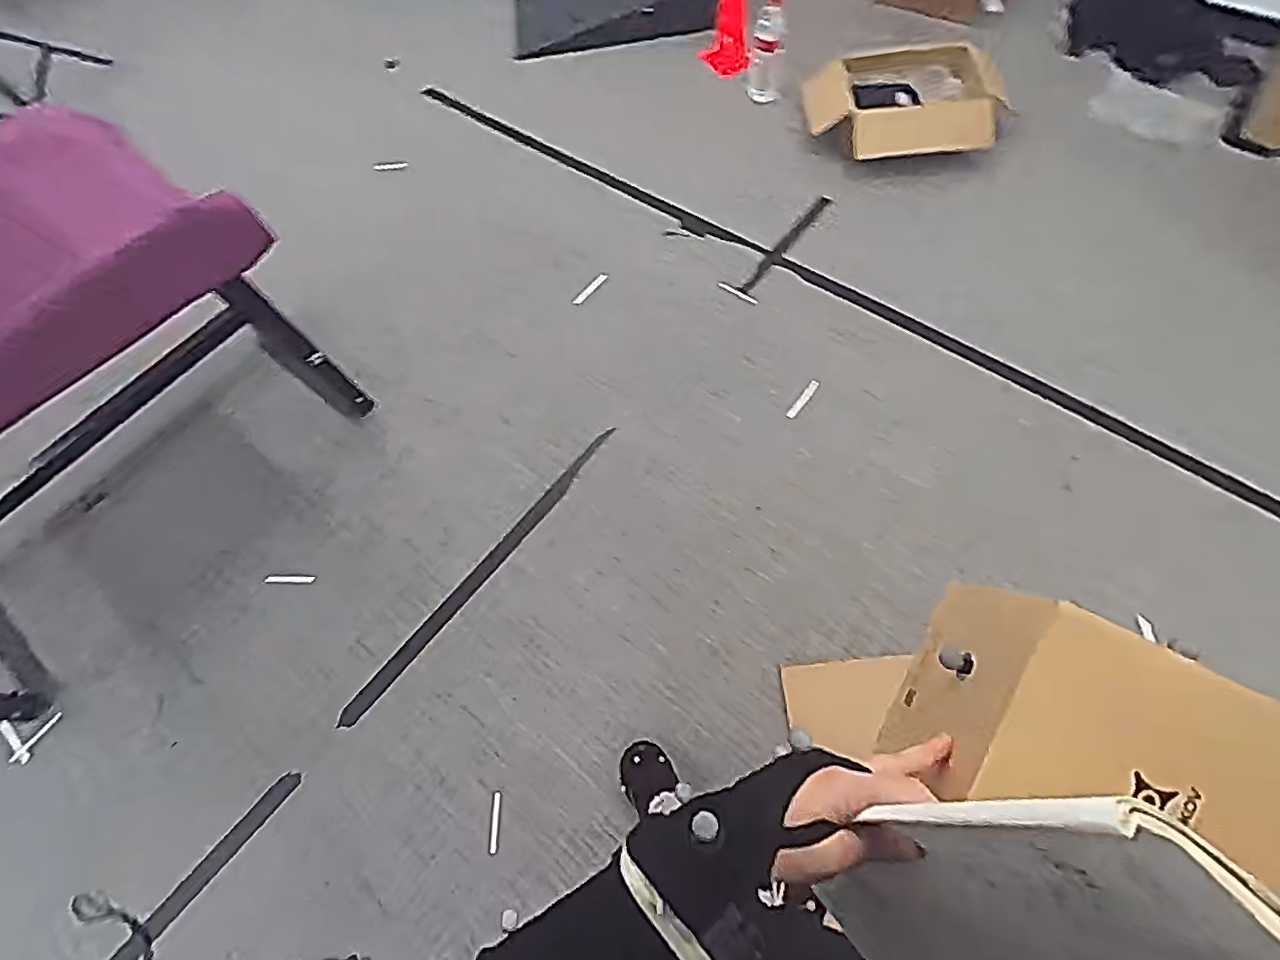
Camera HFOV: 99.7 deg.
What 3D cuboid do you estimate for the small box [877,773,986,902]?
[{"bbox_3d":[0.602,0.706,1.085,0.168,0.176,0.179,-7,69,2],"label":"small box"}]

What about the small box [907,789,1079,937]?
[{"bbox_3d":[0.589,0.644,0.933,0.168,0.176,0.179,-6,69,3],"label":"small box"}]
